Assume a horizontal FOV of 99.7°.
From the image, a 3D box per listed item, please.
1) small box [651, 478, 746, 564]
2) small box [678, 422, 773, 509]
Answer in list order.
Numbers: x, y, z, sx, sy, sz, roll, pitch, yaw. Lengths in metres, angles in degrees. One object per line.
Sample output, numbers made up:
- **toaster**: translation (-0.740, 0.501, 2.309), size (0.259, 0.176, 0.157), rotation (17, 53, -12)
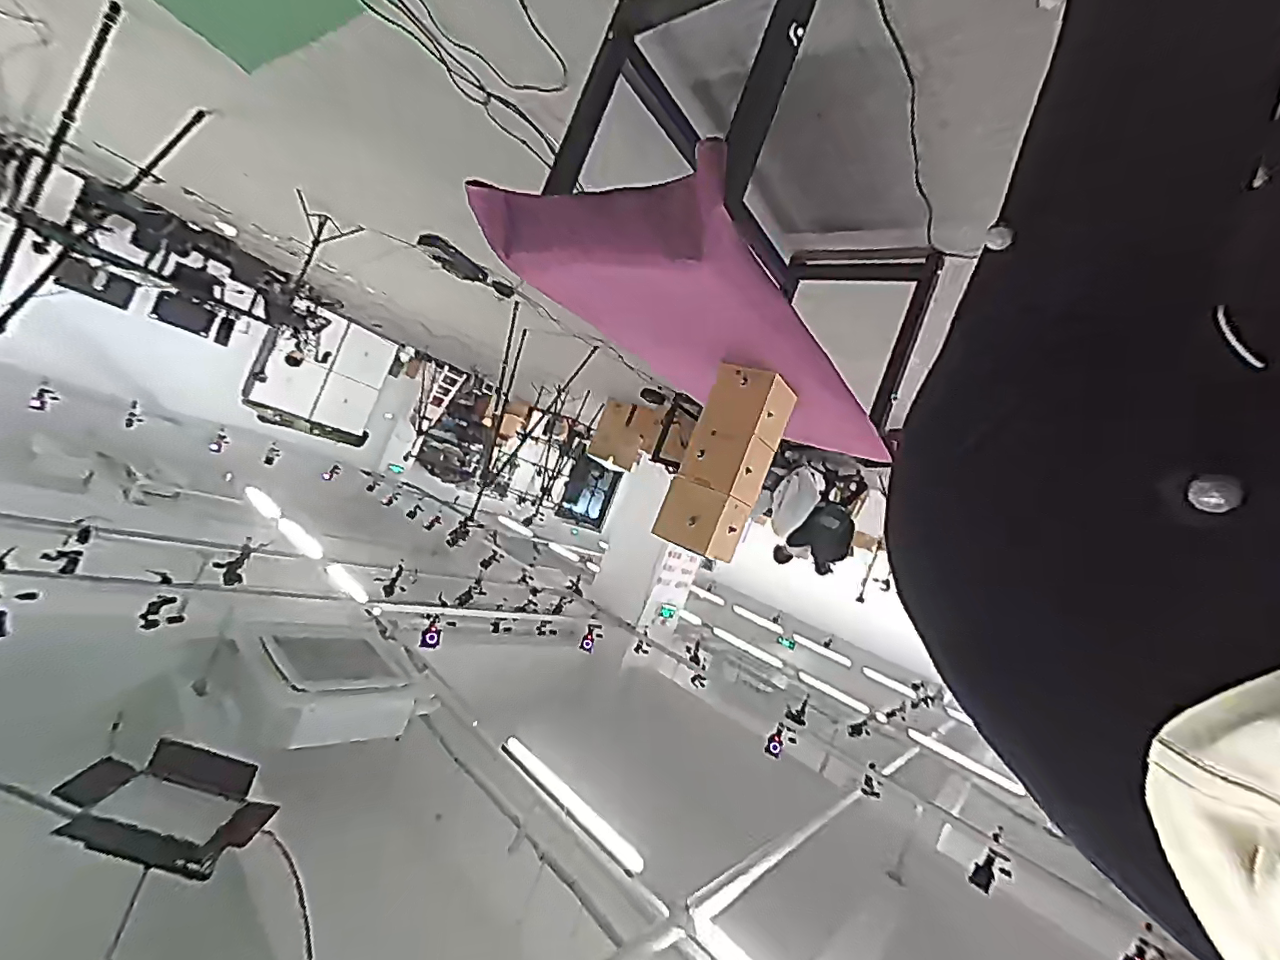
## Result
- **small box**: translation (0.165, 0.107, 1.443), size (0.179, 0.176, 0.168), rotation (20, 176, 35)
- **small box**: translation (0.232, -0.041, 1.446), size (0.168, 0.176, 0.179), rotation (21, 177, 35)
